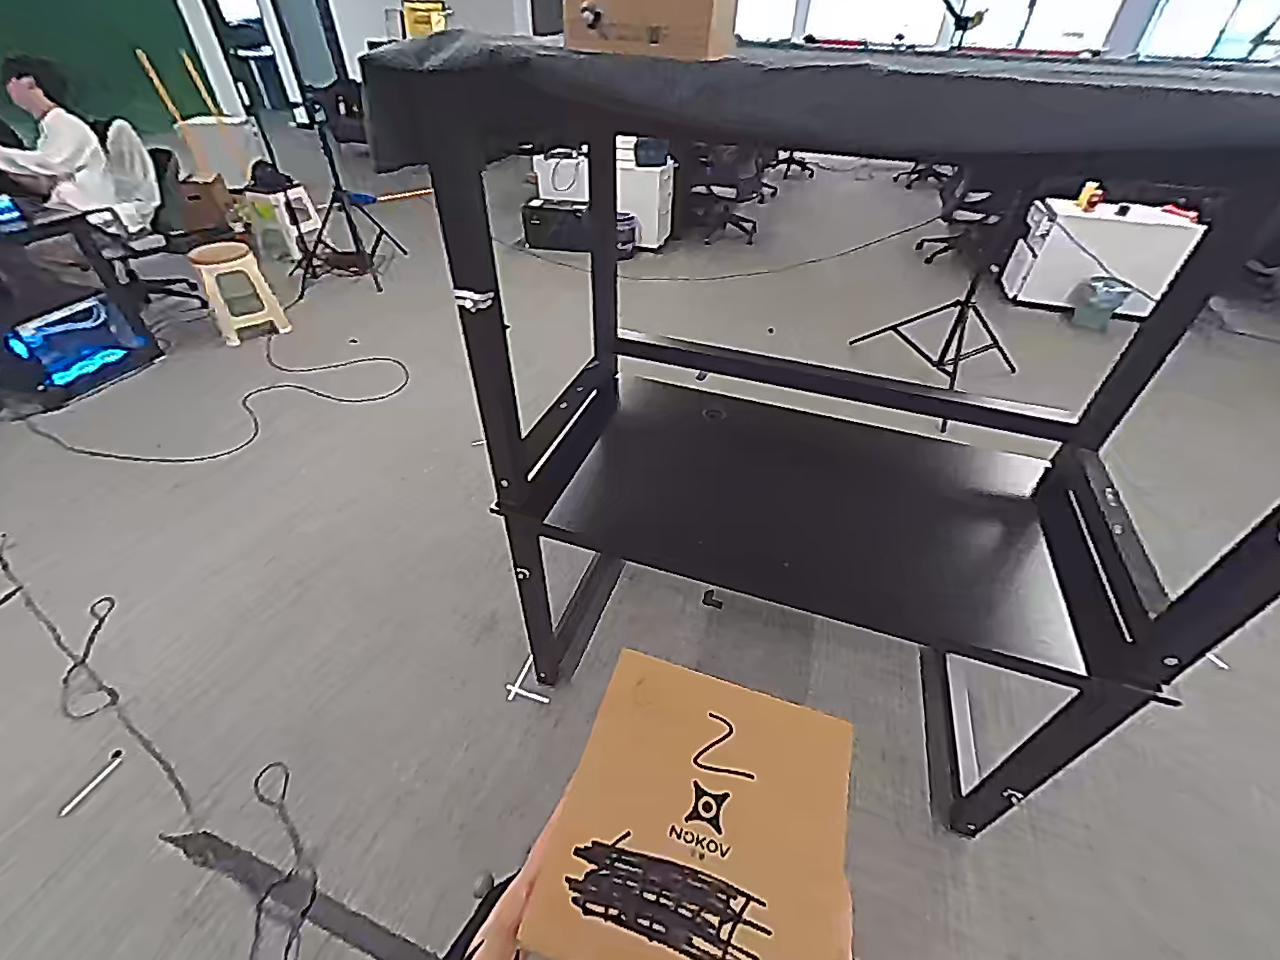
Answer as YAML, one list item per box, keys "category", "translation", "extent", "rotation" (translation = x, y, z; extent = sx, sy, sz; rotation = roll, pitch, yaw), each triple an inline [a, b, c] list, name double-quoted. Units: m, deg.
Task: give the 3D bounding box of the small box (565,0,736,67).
- category: "small box"
  translation: [0.019, -0.571, 0.602]
  extent: [0.168, 0.176, 0.179]
  rotation: [13, 40, 11]
